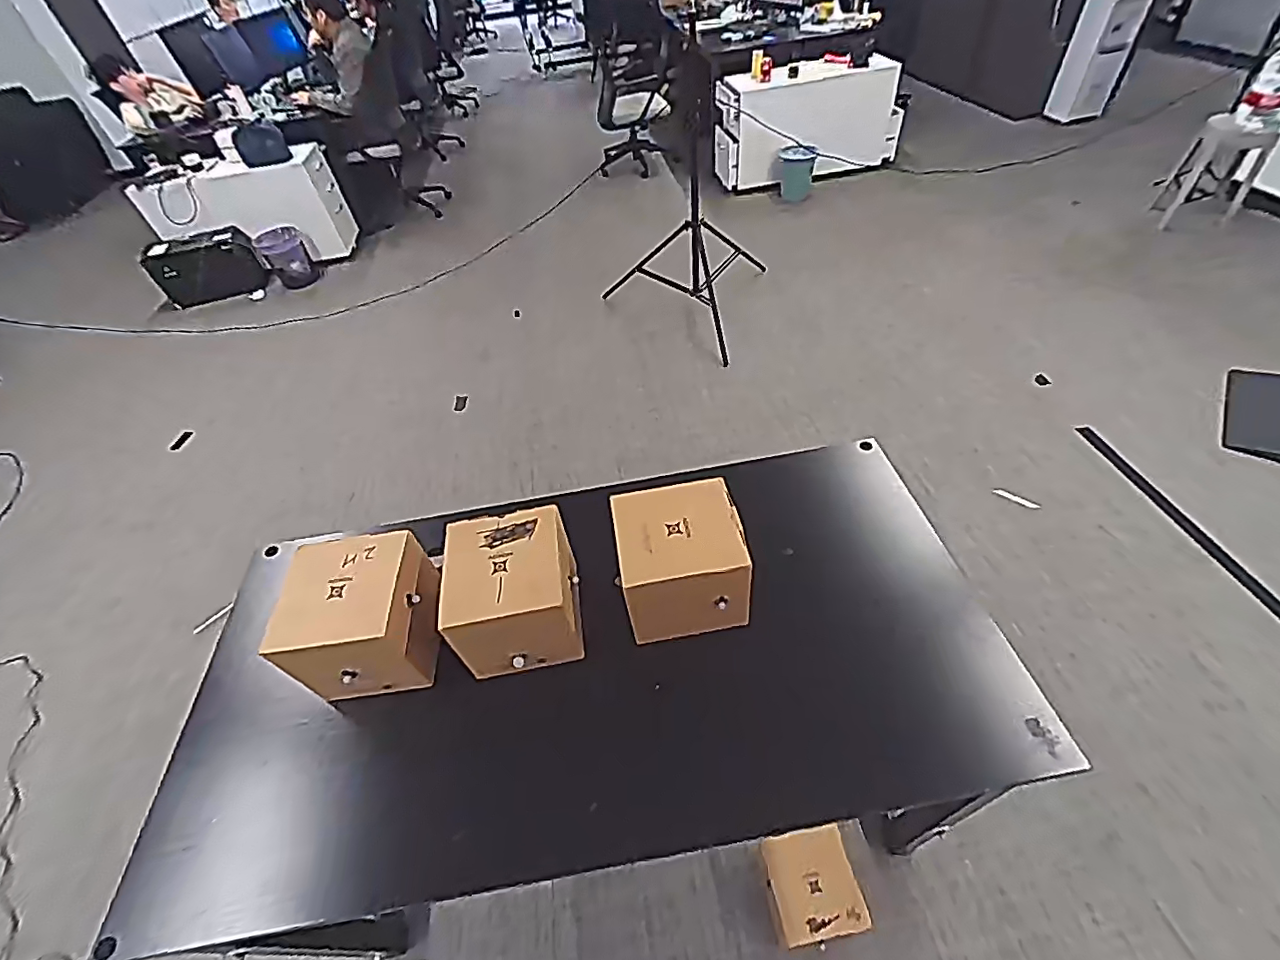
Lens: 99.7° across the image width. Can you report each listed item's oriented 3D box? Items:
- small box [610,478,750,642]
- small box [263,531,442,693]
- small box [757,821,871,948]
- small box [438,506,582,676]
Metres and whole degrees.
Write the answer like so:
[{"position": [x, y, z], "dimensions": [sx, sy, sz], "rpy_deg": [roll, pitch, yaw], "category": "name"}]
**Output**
[{"position": [0.058, 0.124, 0.823], "dimensions": [0.179, 0.176, 0.168], "rpy_deg": [-11, 46, -1], "category": "small box"}, {"position": [-0.408, 0.204, 0.810], "dimensions": [0.168, 0.176, 0.179], "rpy_deg": [-8, 47, 0], "category": "small box"}, {"position": [0.347, 0.838, 1.119], "dimensions": [0.168, 0.176, 0.179], "rpy_deg": [-12, 47, -2], "category": "small box"}, {"position": [-0.186, 0.167, 0.814], "dimensions": [0.168, 0.176, 0.179], "rpy_deg": [-10, 48, -2], "category": "small box"}]
